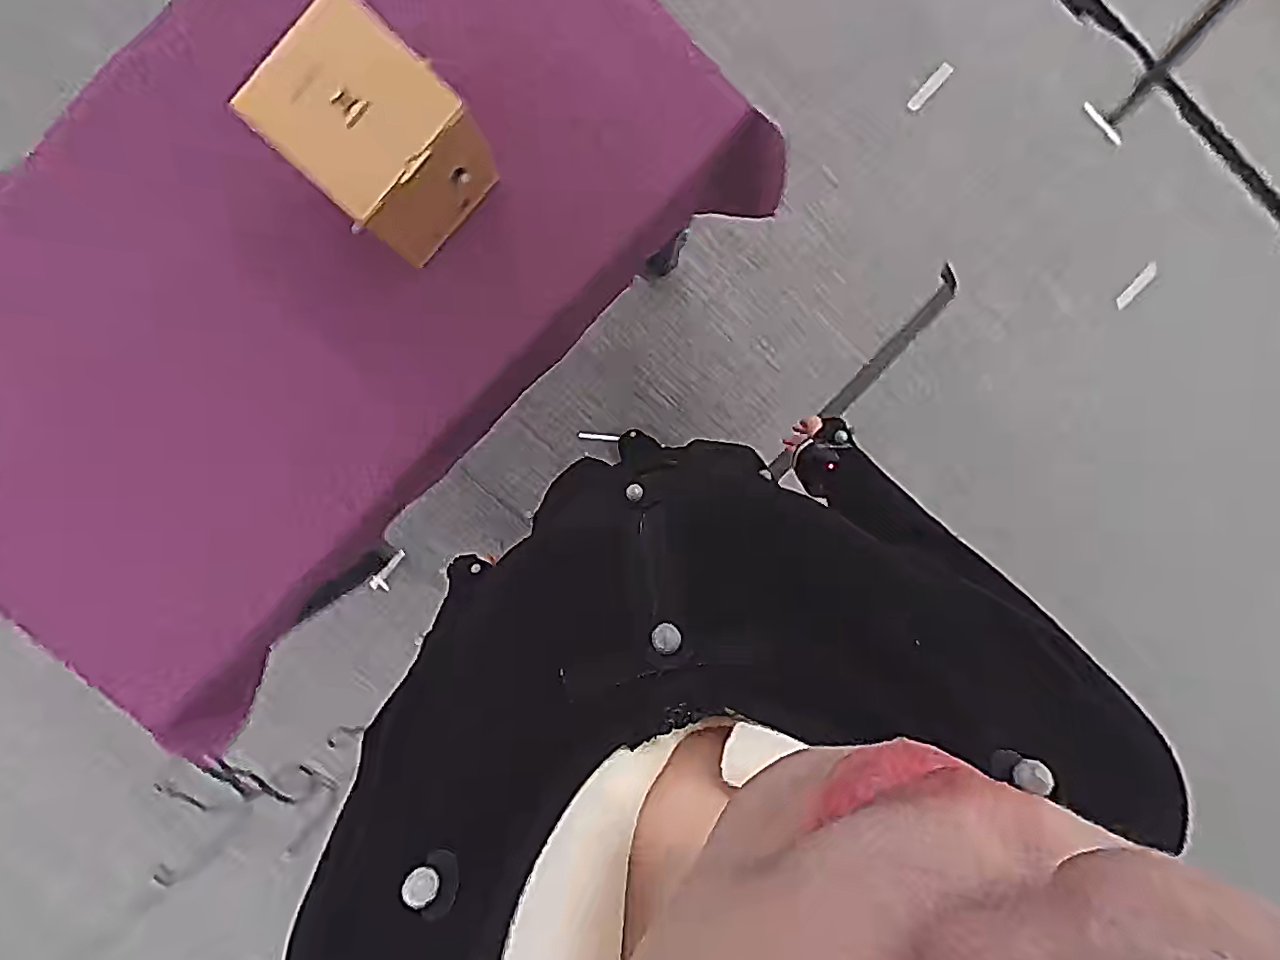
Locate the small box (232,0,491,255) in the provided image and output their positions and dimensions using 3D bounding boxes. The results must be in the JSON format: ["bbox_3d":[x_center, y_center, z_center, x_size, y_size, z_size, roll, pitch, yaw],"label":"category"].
[{"bbox_3d":[-0.303,-0.392,0.634,0.179,0.176,0.168,42,92,-5],"label":"small box"}]
